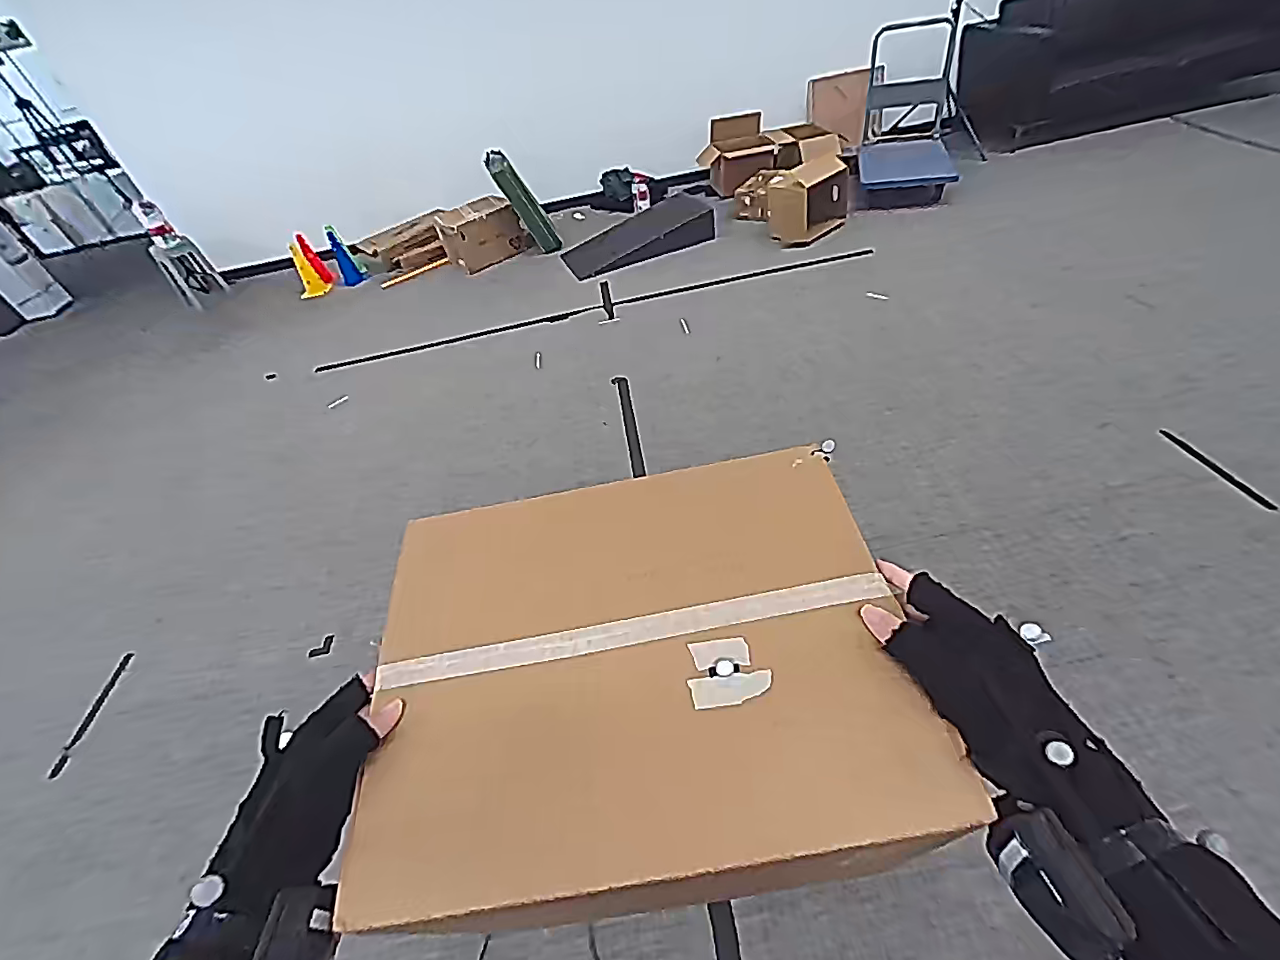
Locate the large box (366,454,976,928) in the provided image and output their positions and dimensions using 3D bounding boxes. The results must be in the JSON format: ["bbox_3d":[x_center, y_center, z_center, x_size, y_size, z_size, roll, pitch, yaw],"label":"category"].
[{"bbox_3d":[0.017,0.220,0.548,0.408,0.320,0.320,-10,50,1],"label":"large box"}]
